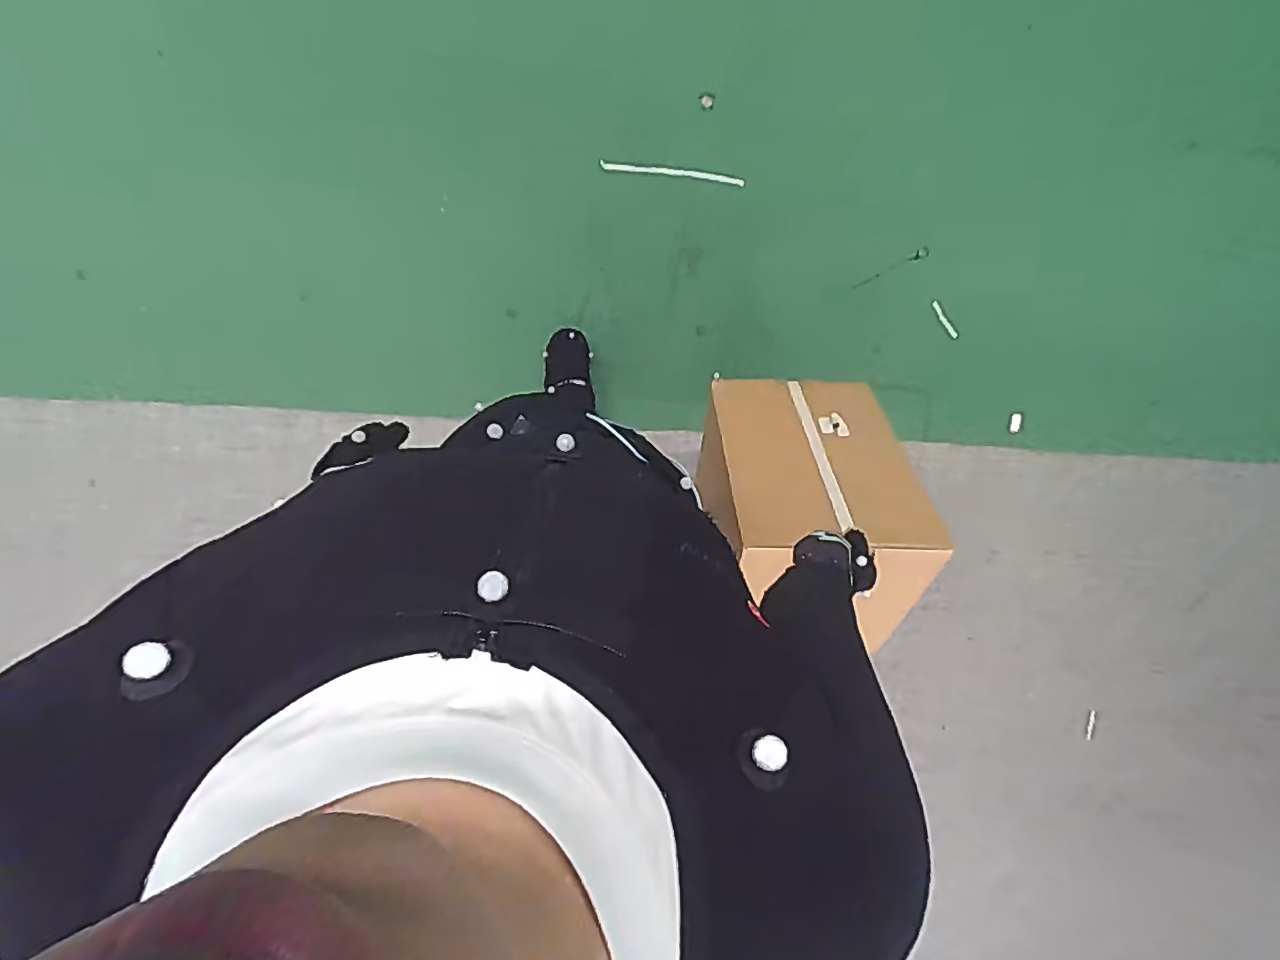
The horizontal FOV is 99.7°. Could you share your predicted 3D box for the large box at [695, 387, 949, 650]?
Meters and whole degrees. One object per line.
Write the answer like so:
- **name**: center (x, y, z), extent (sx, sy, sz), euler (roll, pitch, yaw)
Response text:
- **large box**: center (0.291, 0.068, 1.027), extent (0.320, 0.408, 0.320), euler (2, 134, -4)
